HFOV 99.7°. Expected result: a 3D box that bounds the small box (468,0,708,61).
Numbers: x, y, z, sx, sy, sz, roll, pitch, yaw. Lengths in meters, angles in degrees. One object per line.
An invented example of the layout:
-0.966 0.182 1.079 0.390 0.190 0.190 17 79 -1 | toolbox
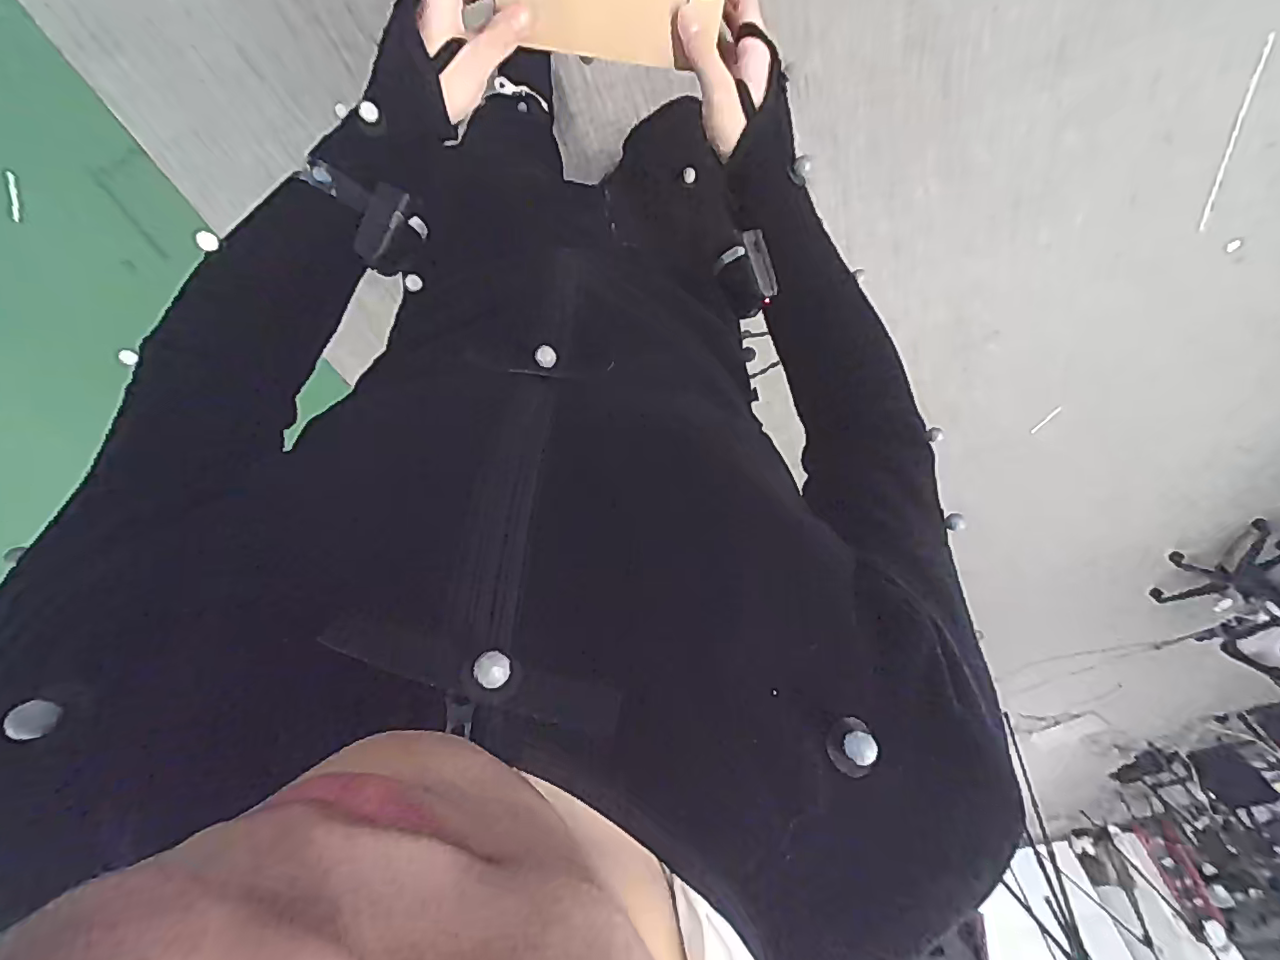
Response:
-0.029 -0.447 0.410 0.179 0.176 0.168 5 135 -8 | small box
